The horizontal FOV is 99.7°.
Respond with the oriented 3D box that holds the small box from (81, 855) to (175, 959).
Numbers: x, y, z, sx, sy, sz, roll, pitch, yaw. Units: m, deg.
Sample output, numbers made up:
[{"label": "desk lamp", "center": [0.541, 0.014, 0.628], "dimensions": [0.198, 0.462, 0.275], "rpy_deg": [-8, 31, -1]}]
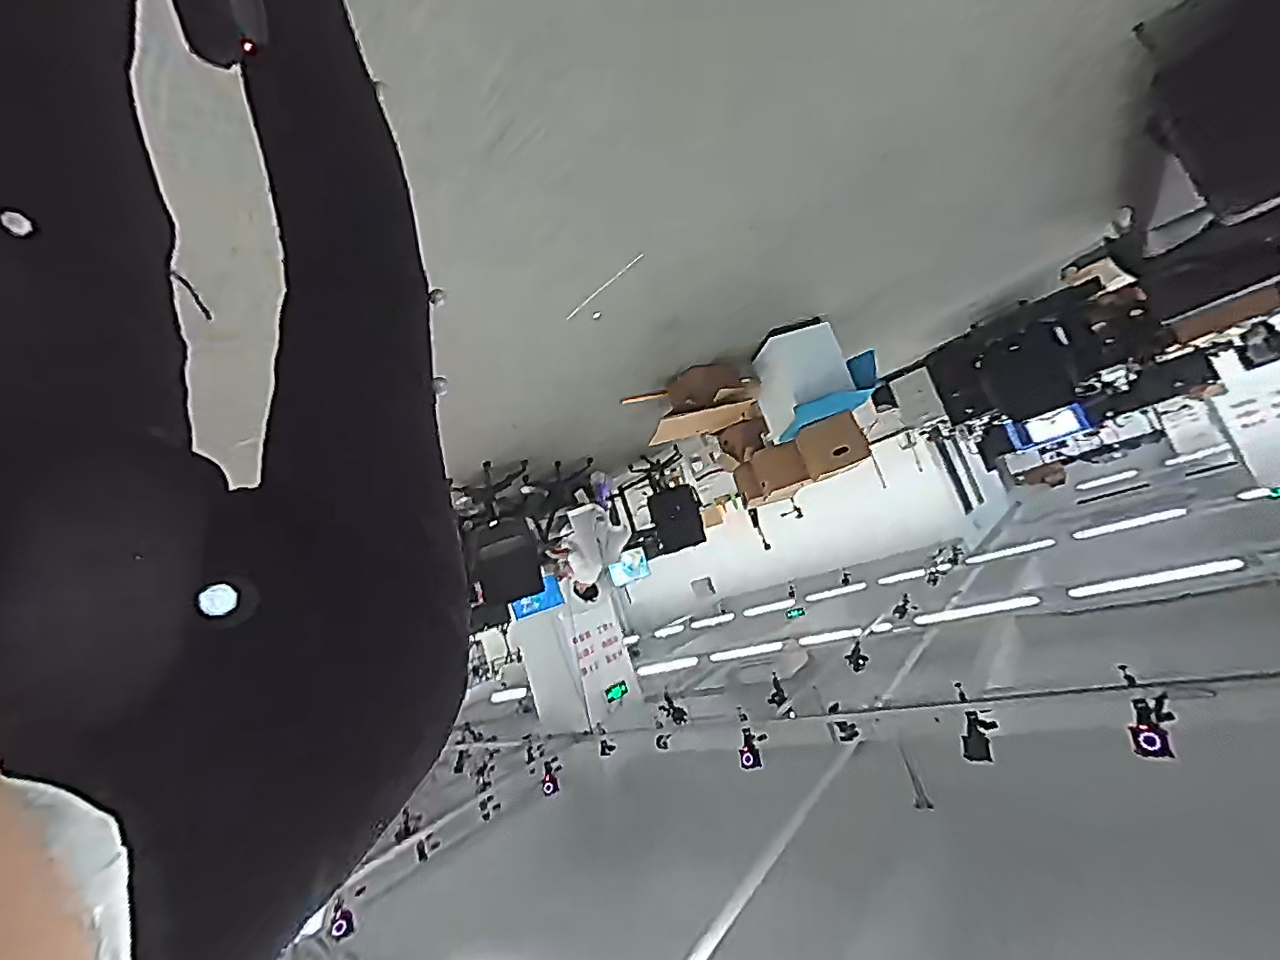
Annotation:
[{"label": "small box", "center": [-1.461, 1.202, 1.543], "dimensions": [0.179, 0.176, 0.168], "rpy_deg": [-7, 165, -46]}]
